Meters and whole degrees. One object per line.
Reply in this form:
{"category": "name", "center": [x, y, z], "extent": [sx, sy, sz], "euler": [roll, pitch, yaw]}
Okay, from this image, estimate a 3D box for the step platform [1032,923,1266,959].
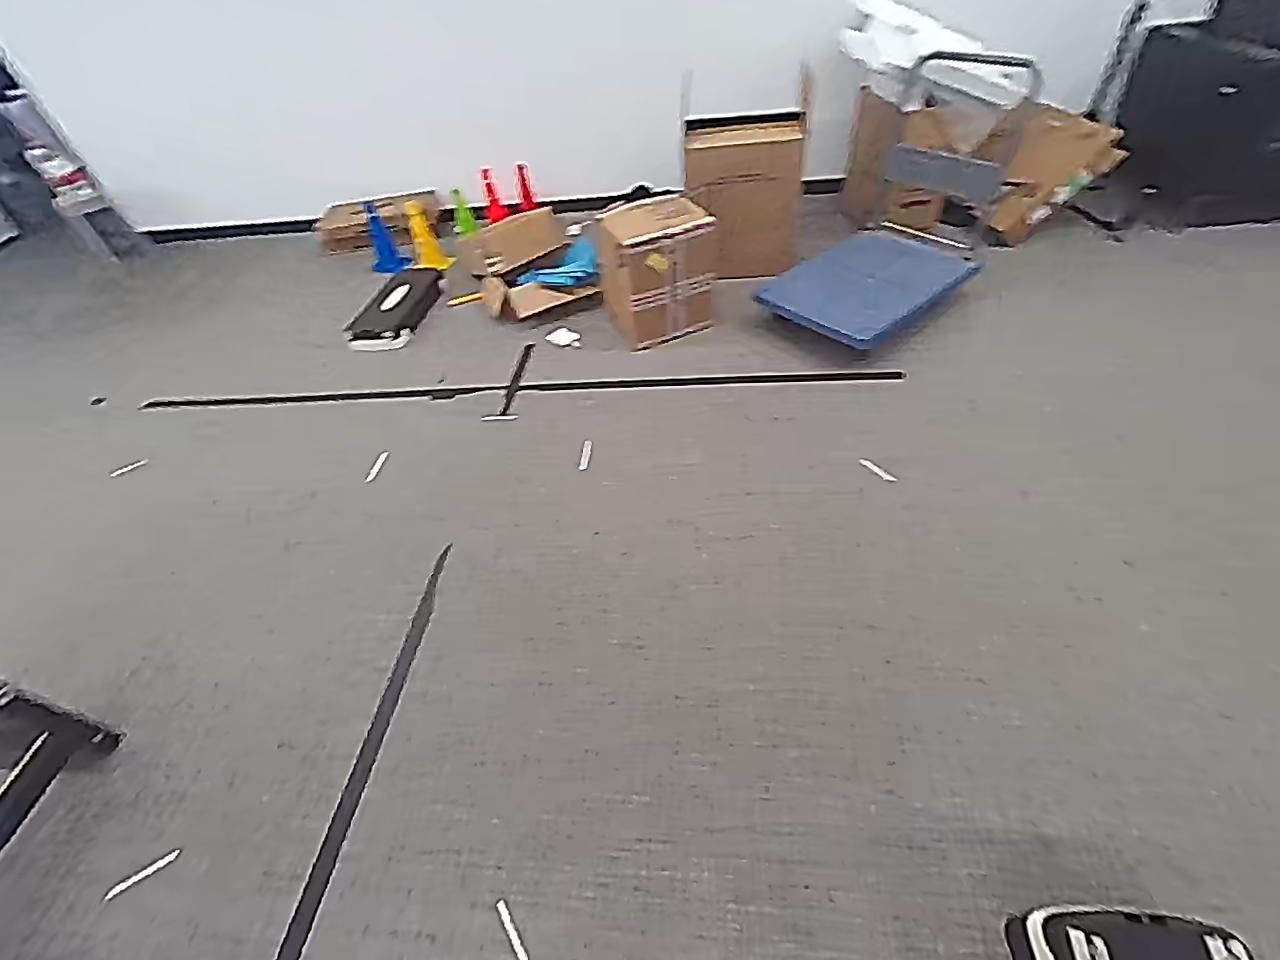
{"category": "step platform", "center": [0.812, 1.010, 0.694], "extent": [0.286, 0.204, 0.684], "euler": [0, 46, 7]}
